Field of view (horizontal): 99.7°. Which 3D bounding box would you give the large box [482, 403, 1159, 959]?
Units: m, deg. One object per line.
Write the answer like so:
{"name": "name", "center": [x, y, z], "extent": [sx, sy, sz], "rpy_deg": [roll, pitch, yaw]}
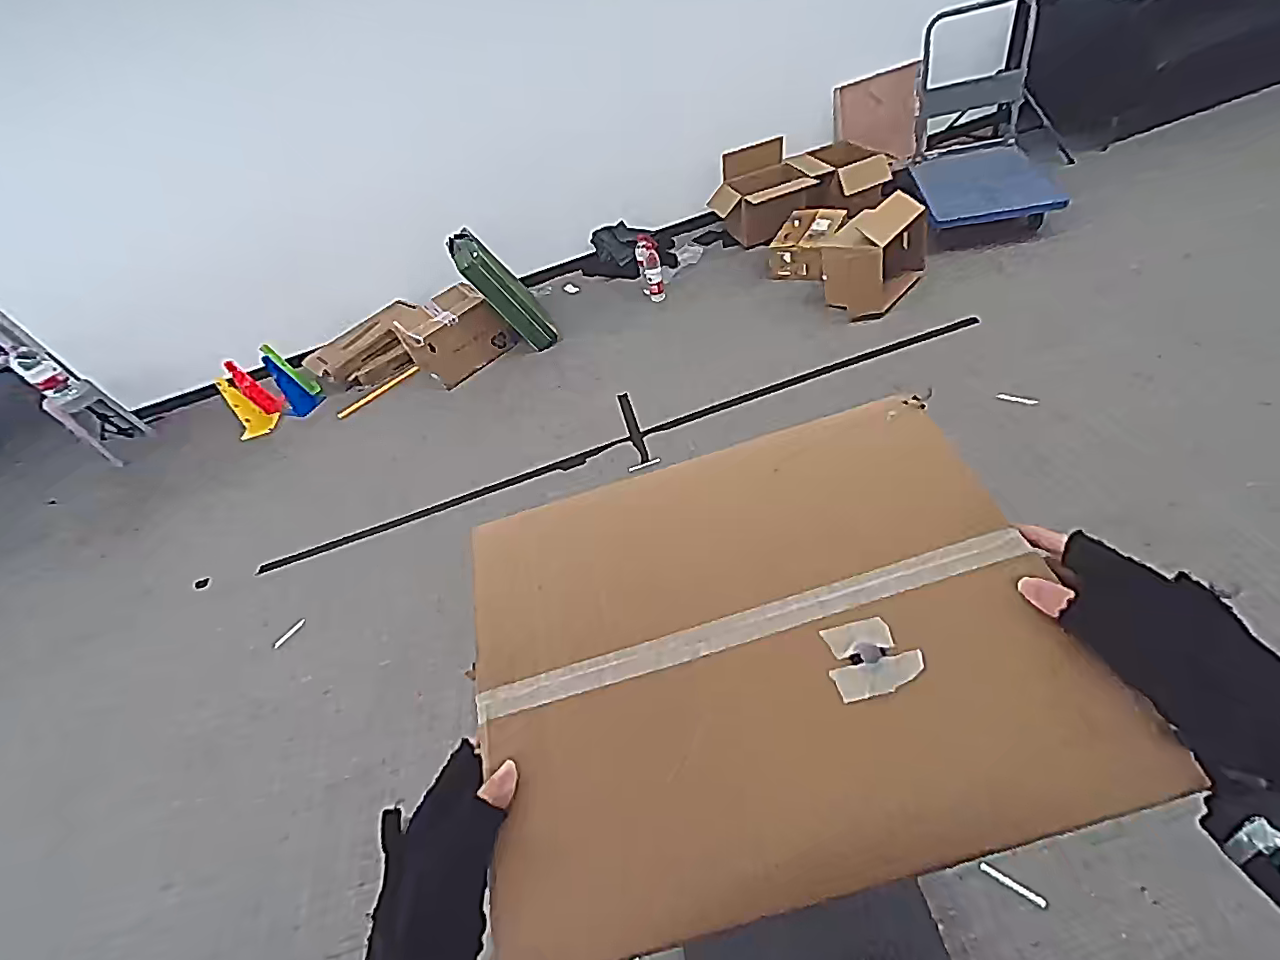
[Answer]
{"name": "large box", "center": [0.107, 0.191, 0.522], "extent": [0.408, 0.320, 0.320], "rpy_deg": [-18, 55, 1]}
